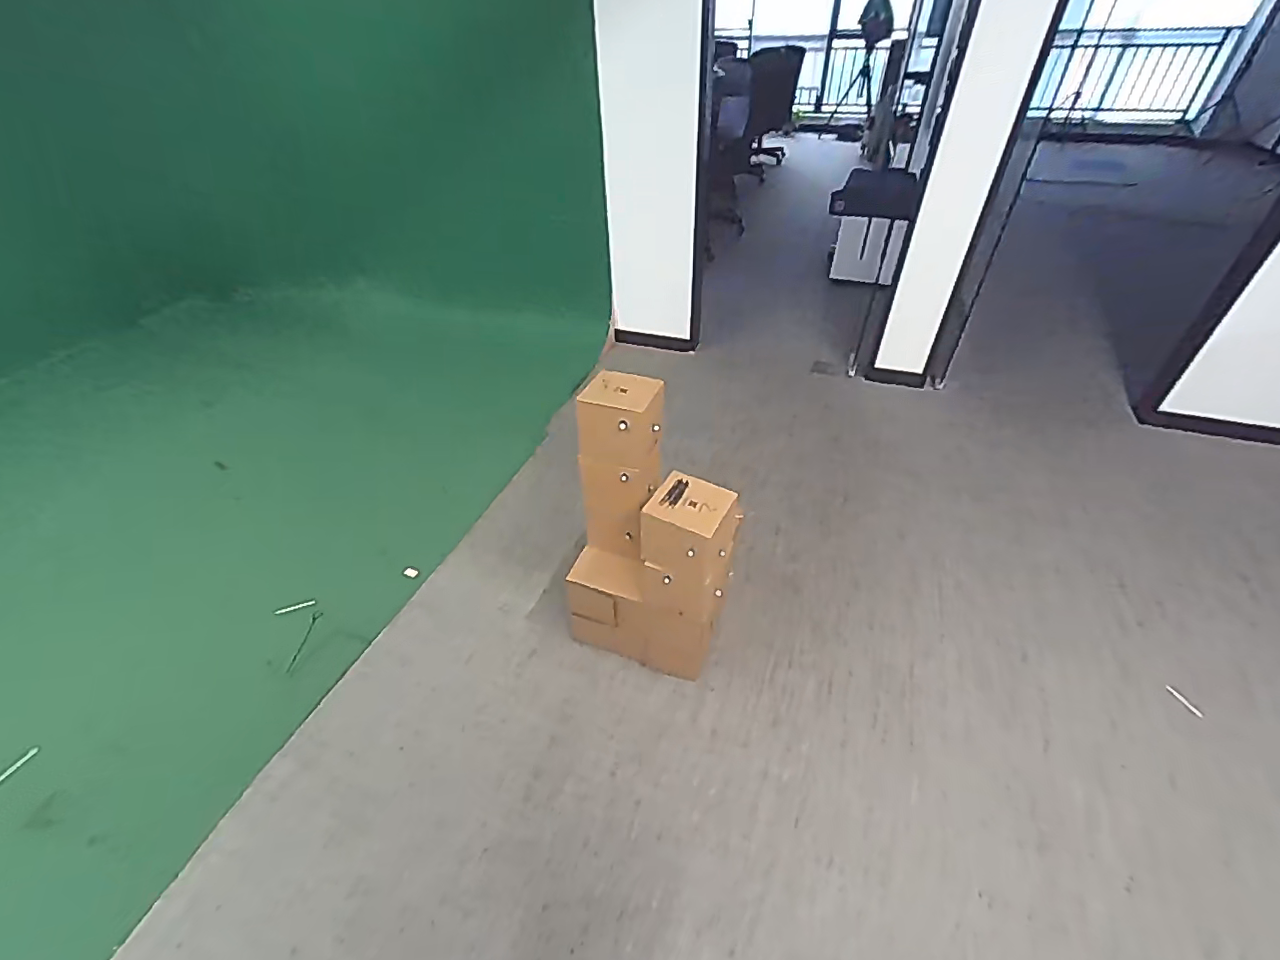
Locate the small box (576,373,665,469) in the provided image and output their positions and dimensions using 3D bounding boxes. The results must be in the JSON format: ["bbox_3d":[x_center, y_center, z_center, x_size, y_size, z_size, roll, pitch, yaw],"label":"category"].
[{"bbox_3d":[-0.044,-0.148,1.376,0.179,0.176,0.168,13,40,17],"label":"small box"}]

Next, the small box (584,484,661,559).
[{"bbox_3d":[-0.045,0.109,1.578,0.179,0.176,0.168,11,40,15],"label":"small box"}]

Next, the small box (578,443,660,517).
[{"bbox_3d":[-0.053,-0.019,1.479,0.179,0.176,0.168,13,40,15],"label":"small box"}]

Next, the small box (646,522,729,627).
[{"bbox_3d":[0.120,0.245,1.408,0.168,0.176,0.179,16,43,19],"label":"small box"}]
